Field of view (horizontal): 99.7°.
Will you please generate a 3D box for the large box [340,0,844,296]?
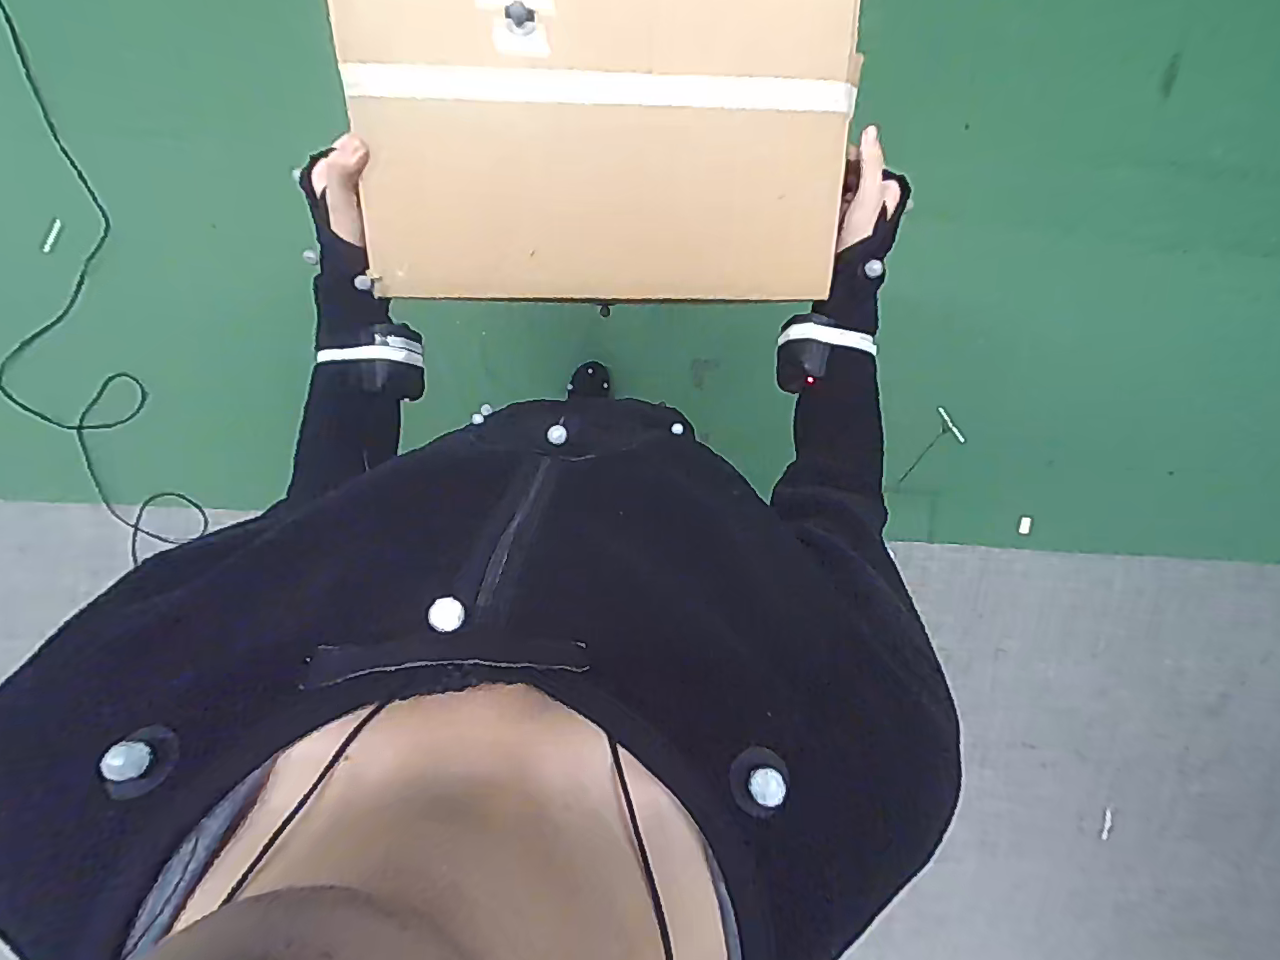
[{"bbox_3d":[-0.042,-0.366,0.584,0.408,0.320,0.320,-1,108,-5],"label":"large box"}]
